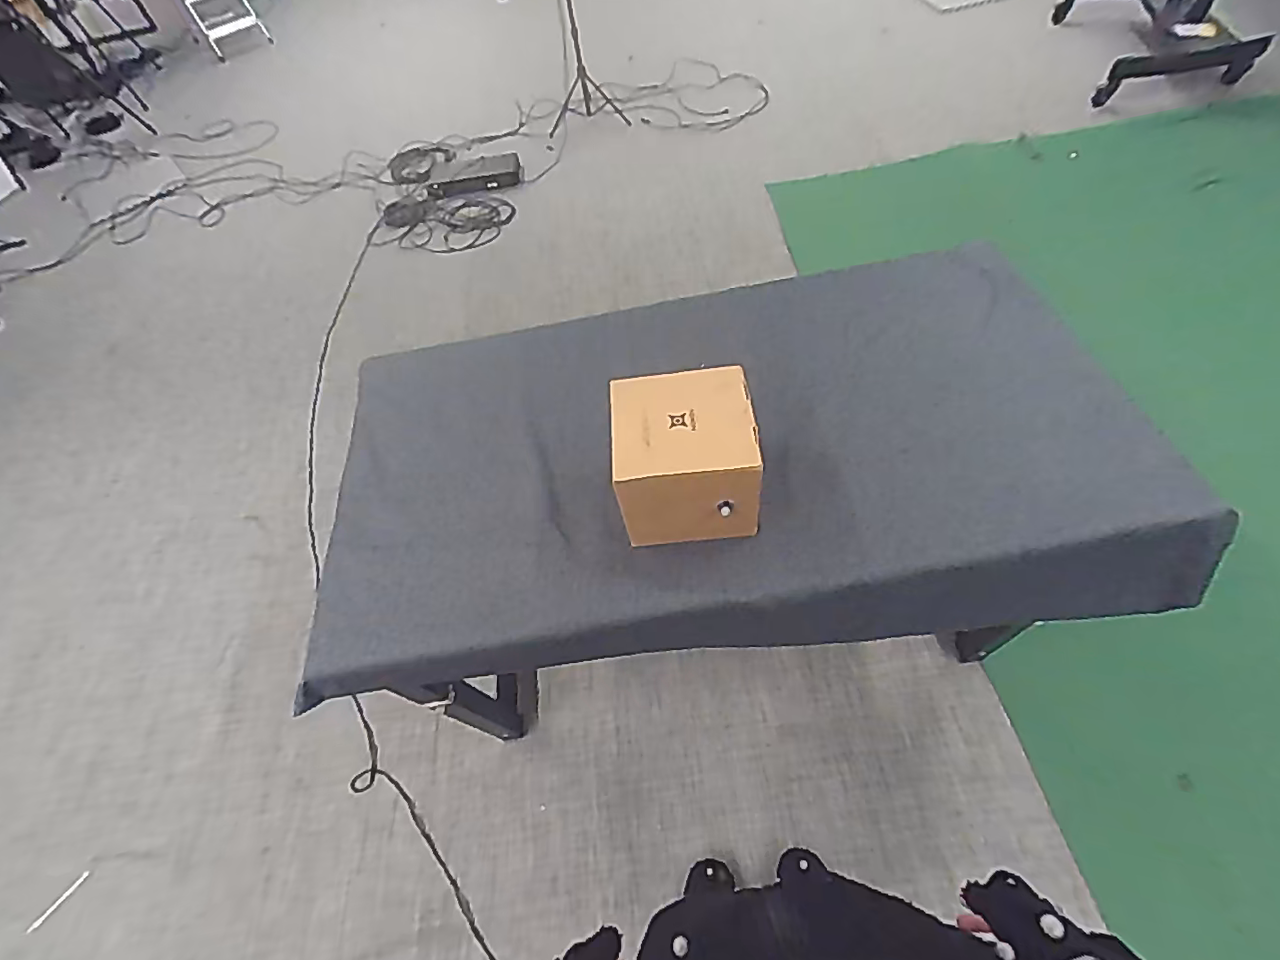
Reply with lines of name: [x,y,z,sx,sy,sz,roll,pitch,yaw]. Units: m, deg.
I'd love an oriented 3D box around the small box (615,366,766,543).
small box: [0.066,-0.029,0.735,0.179,0.176,0.168,-7,55,5]
